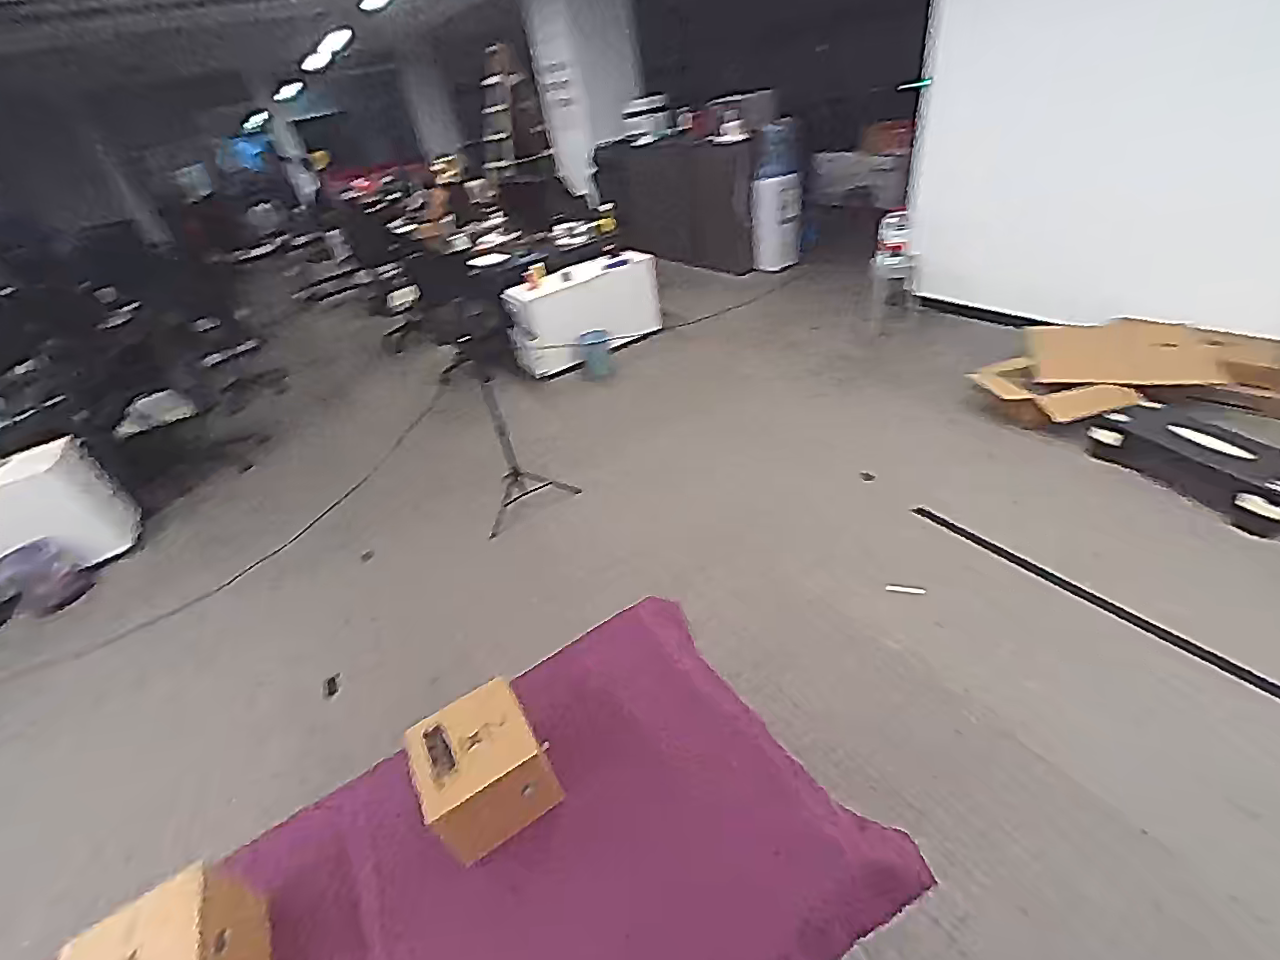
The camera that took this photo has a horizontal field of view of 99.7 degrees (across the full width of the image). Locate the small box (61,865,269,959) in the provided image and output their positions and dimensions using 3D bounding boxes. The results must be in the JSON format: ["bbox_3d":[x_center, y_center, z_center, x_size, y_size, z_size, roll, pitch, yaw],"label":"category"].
[{"bbox_3d":[-0.623,0.674,0.718,0.168,0.176,0.179,-28,39,-22],"label":"small box"}]
